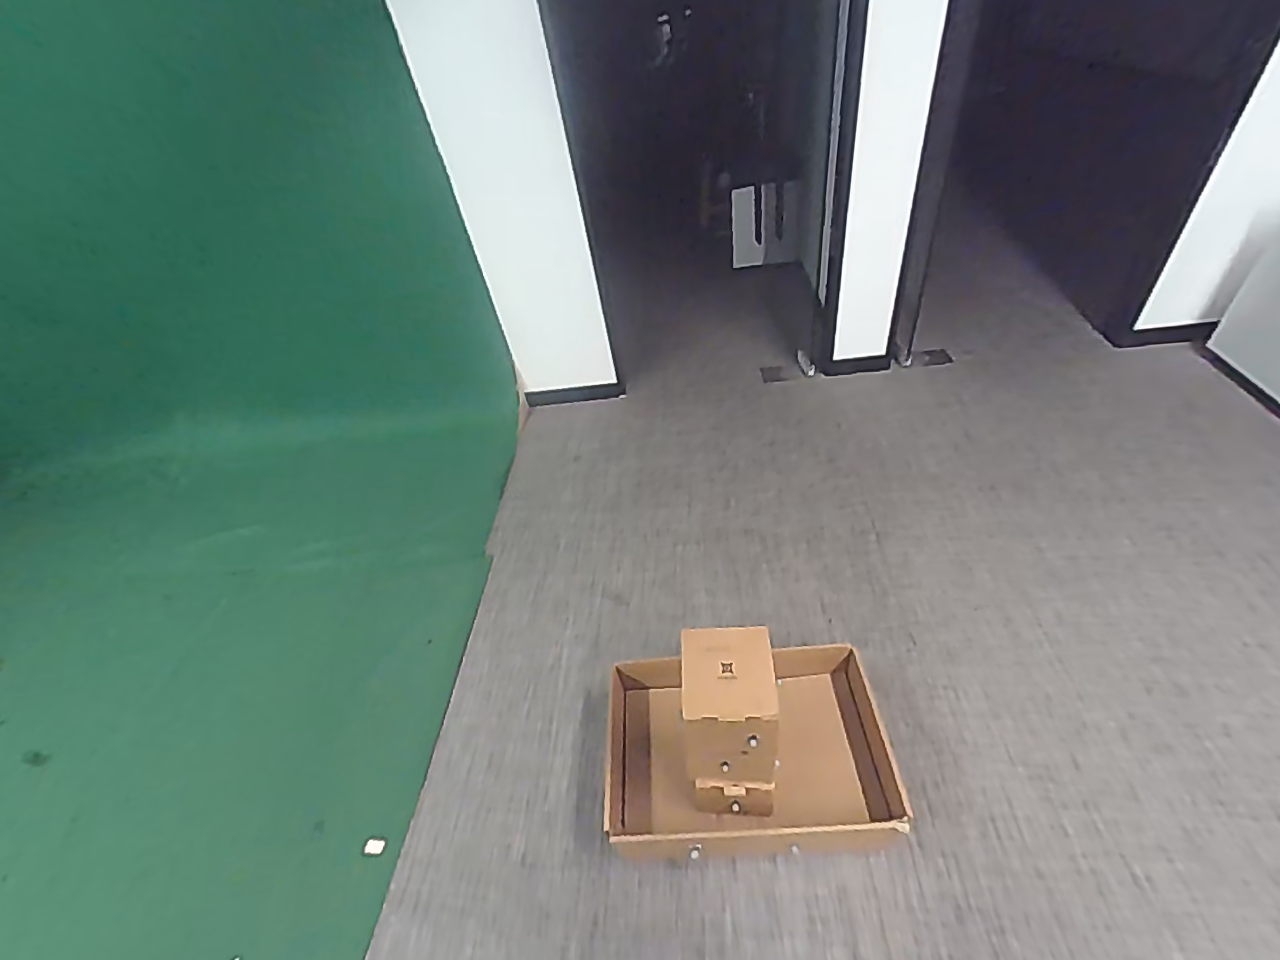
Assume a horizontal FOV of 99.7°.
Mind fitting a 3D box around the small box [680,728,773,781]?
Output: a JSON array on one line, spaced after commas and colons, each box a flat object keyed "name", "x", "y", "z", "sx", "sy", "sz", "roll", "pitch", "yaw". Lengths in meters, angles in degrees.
[{"name": "small box", "x": 0.186, "y": 0.510, "z": 1.132, "sx": 0.179, "sy": 0.176, "sz": 0.168, "roll": -1, "pitch": 42, "yaw": 12}]

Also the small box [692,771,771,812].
[{"name": "small box", "x": 0.211, "y": 0.636, "z": 1.234, "sx": 0.168, "sy": 0.176, "sz": 0.179, "roll": -1, "pitch": 44, "yaw": 10}]

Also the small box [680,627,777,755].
[{"name": "small box", "x": 0.163, "y": 0.398, "z": 1.016, "sx": 0.168, "sy": 0.176, "sz": 0.179, "roll": -3, "pitch": 41, "yaw": 7}]
